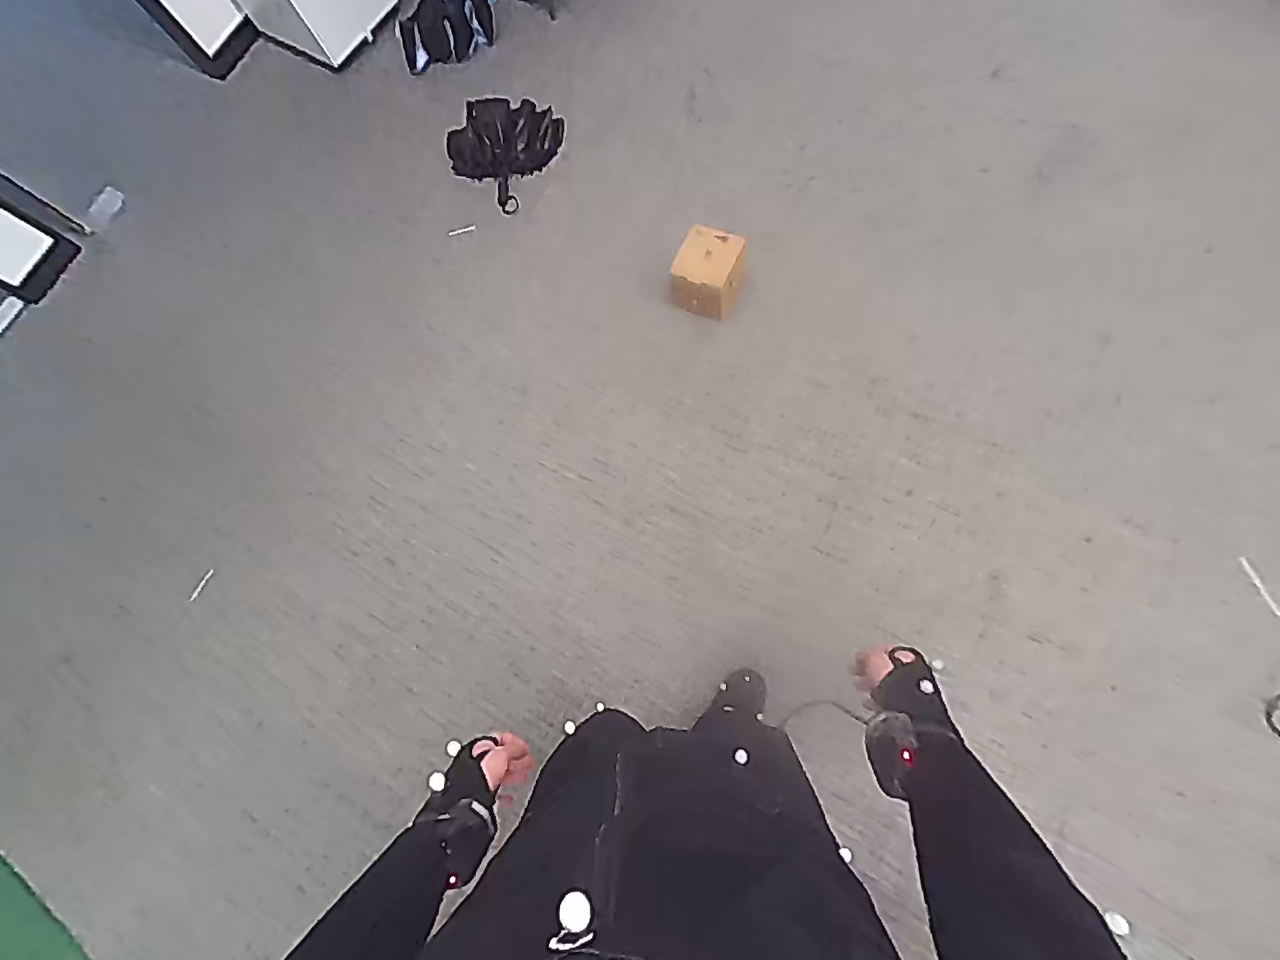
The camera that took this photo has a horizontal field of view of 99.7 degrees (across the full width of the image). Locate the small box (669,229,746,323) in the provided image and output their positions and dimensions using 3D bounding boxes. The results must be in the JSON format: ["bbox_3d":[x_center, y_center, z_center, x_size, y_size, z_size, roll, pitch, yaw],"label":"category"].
[{"bbox_3d":[0.206,-0.593,1.593,0.168,0.176,0.179,24,79,16],"label":"small box"}]
